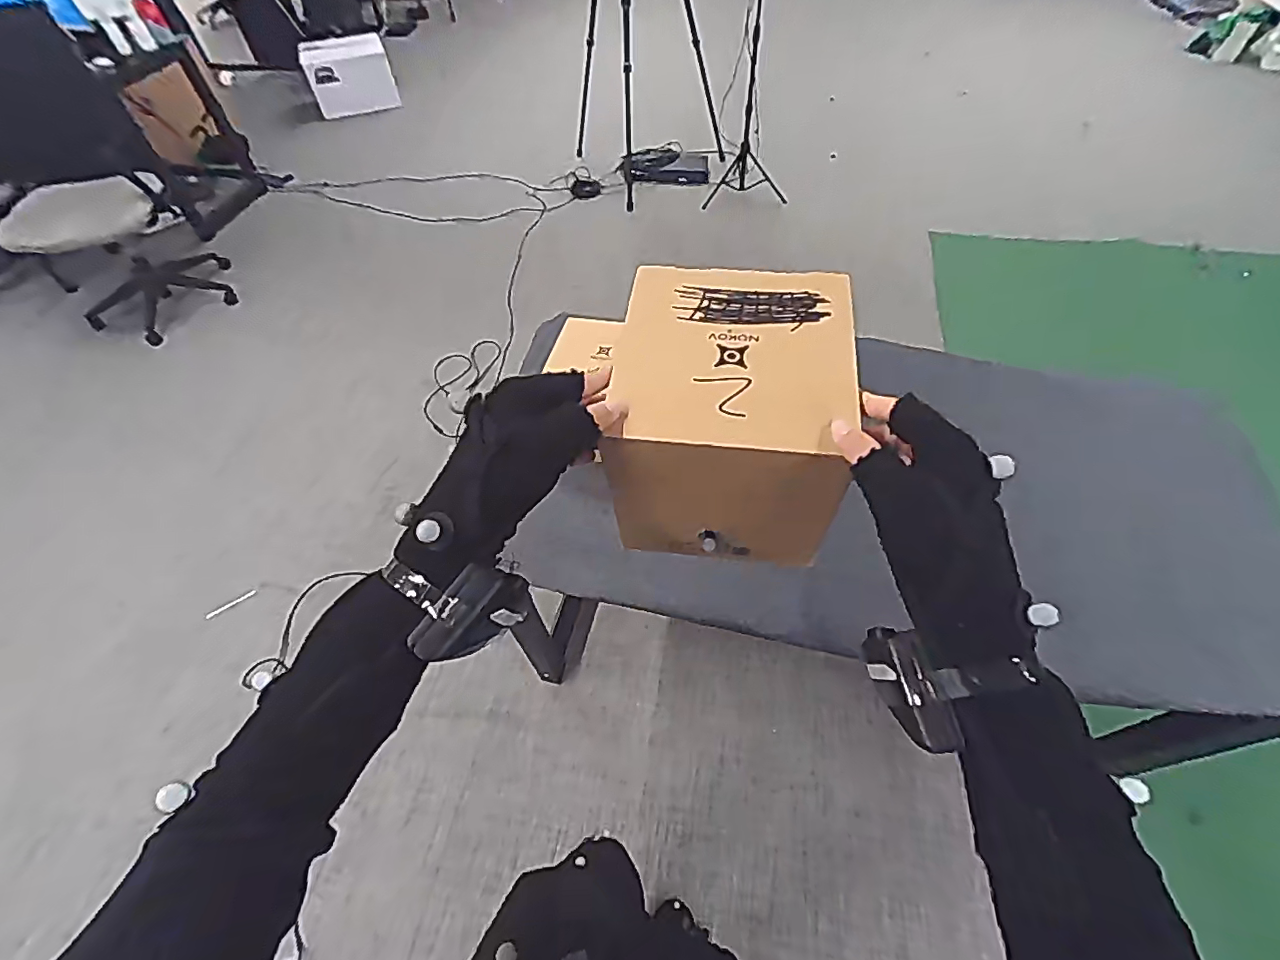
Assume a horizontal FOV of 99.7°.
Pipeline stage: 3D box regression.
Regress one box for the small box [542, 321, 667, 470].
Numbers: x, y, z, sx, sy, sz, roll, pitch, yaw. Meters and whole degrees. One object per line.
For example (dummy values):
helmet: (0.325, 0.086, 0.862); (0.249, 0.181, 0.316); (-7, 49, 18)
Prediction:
small box: (-0.052, -0.144, 0.923); (0.168, 0.176, 0.179); (8, 53, 10)
